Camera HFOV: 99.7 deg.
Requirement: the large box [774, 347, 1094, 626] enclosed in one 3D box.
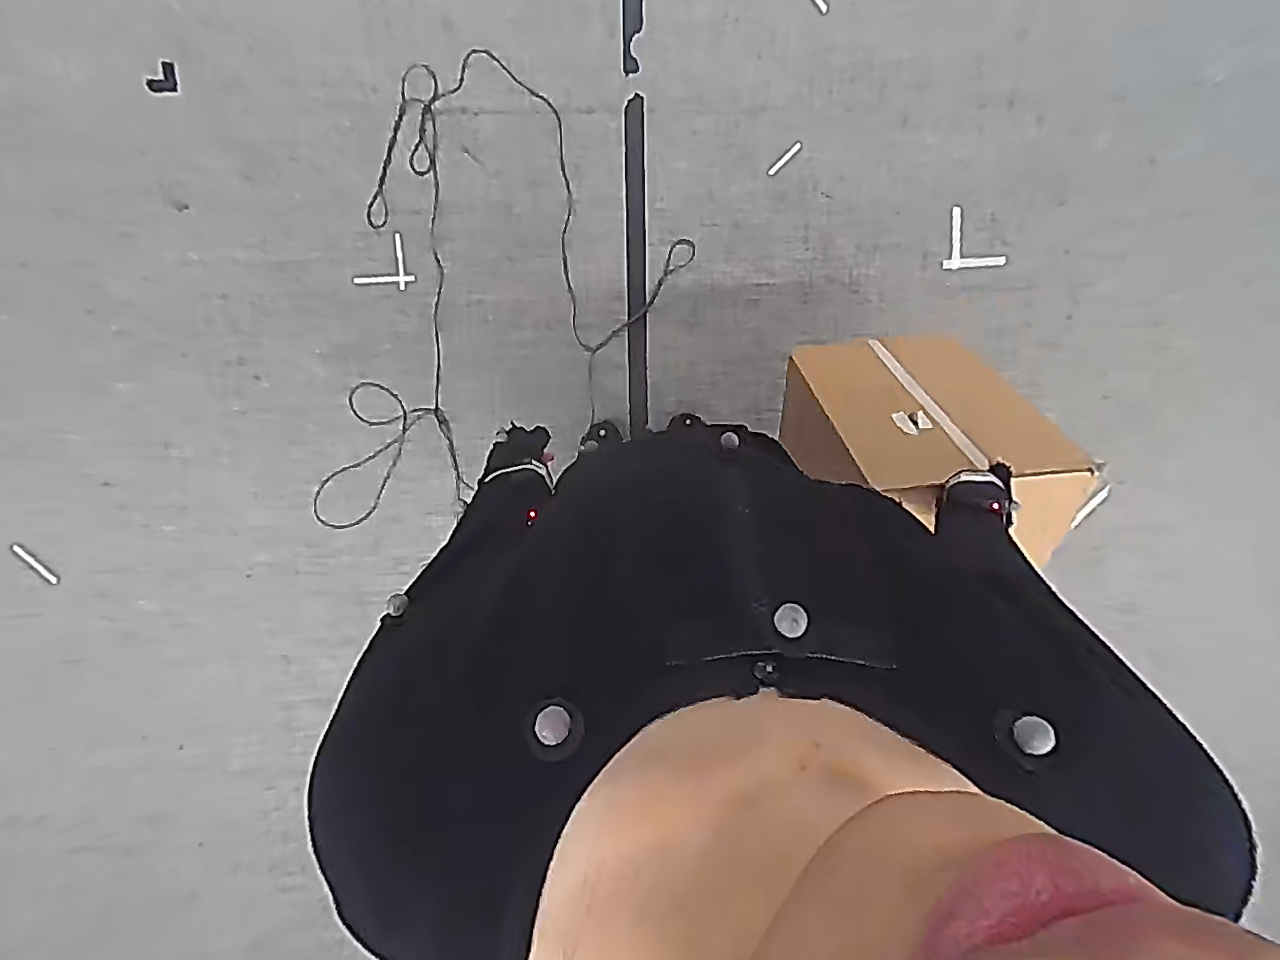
[{"bbox_3d":[0.461,-0.001,0.980,0.320,0.408,0.320,-6,131,-1],"label":"large box"}]
